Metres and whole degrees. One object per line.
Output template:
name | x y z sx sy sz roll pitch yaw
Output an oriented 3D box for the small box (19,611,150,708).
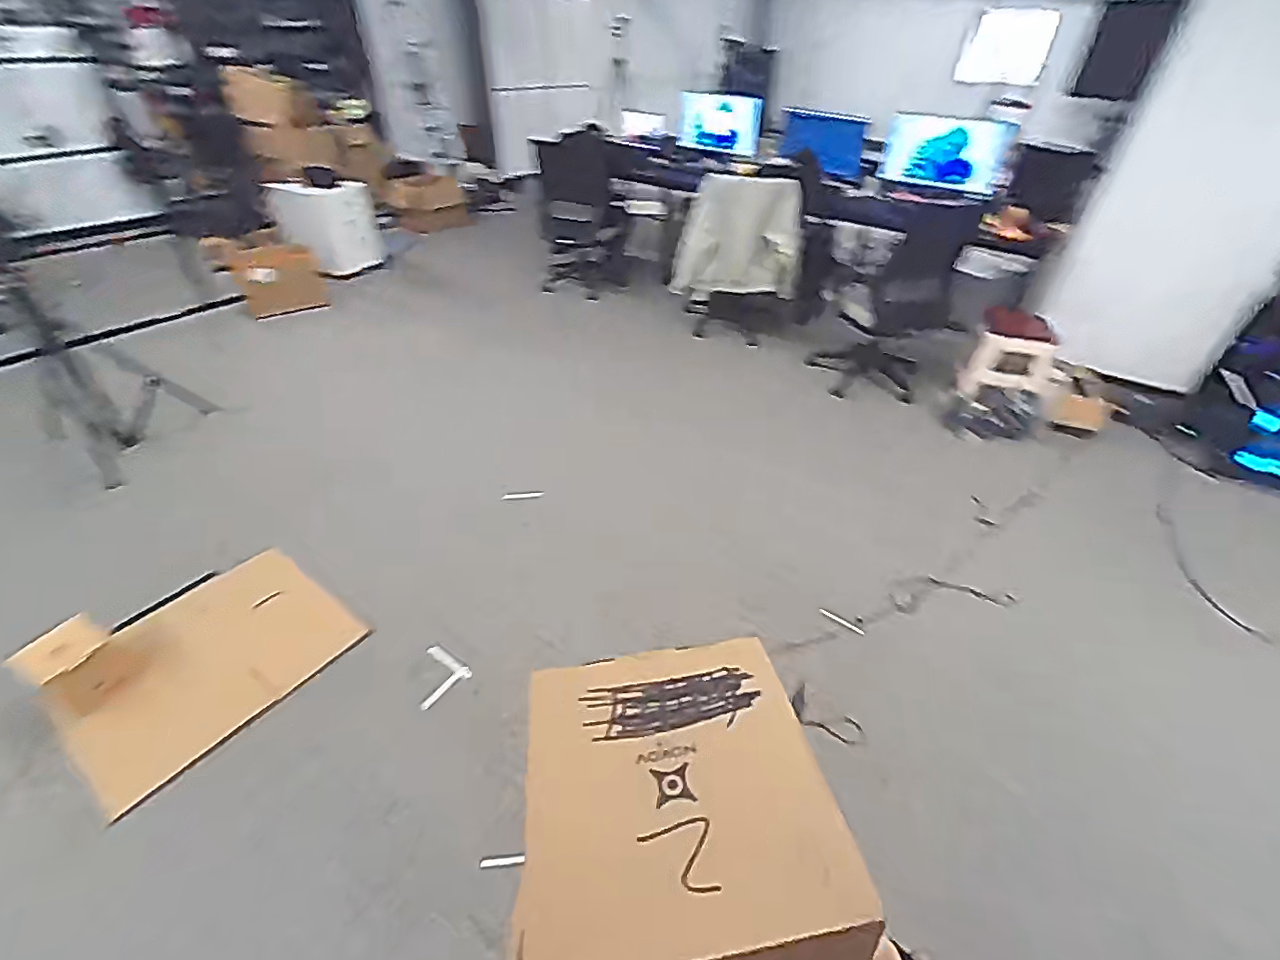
small box | -1.561 0.509 1.529 0.179 0.176 0.168 19 43 20
